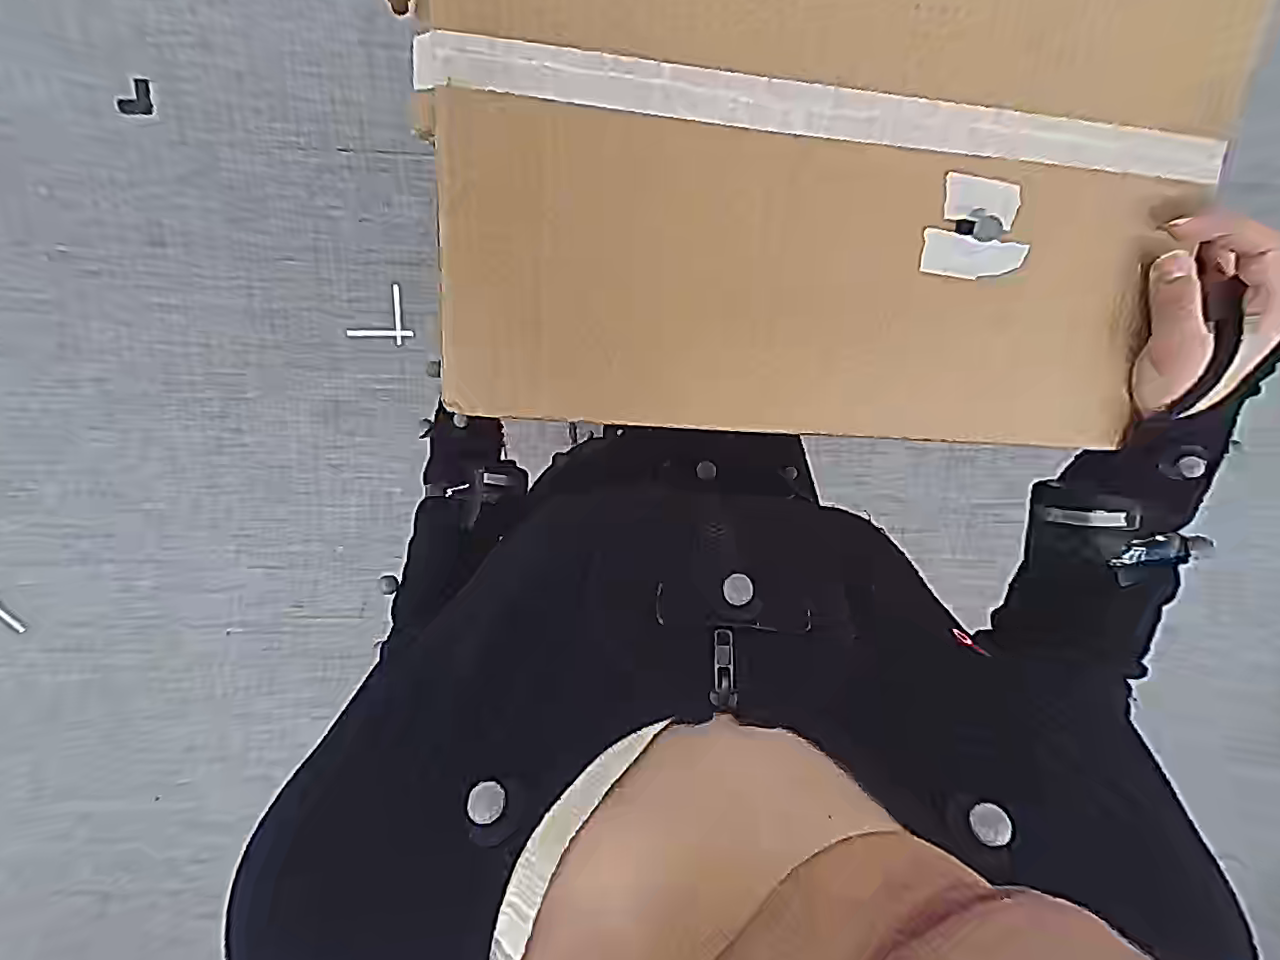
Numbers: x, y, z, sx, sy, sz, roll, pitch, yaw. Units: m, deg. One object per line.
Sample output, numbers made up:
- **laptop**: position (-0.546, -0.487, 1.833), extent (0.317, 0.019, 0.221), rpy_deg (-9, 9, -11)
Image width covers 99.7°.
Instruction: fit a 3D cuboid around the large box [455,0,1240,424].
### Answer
- **large box**: position (0.089, -0.225, 0.416), extent (0.408, 0.320, 0.320), rpy_deg (2, 106, -9)
